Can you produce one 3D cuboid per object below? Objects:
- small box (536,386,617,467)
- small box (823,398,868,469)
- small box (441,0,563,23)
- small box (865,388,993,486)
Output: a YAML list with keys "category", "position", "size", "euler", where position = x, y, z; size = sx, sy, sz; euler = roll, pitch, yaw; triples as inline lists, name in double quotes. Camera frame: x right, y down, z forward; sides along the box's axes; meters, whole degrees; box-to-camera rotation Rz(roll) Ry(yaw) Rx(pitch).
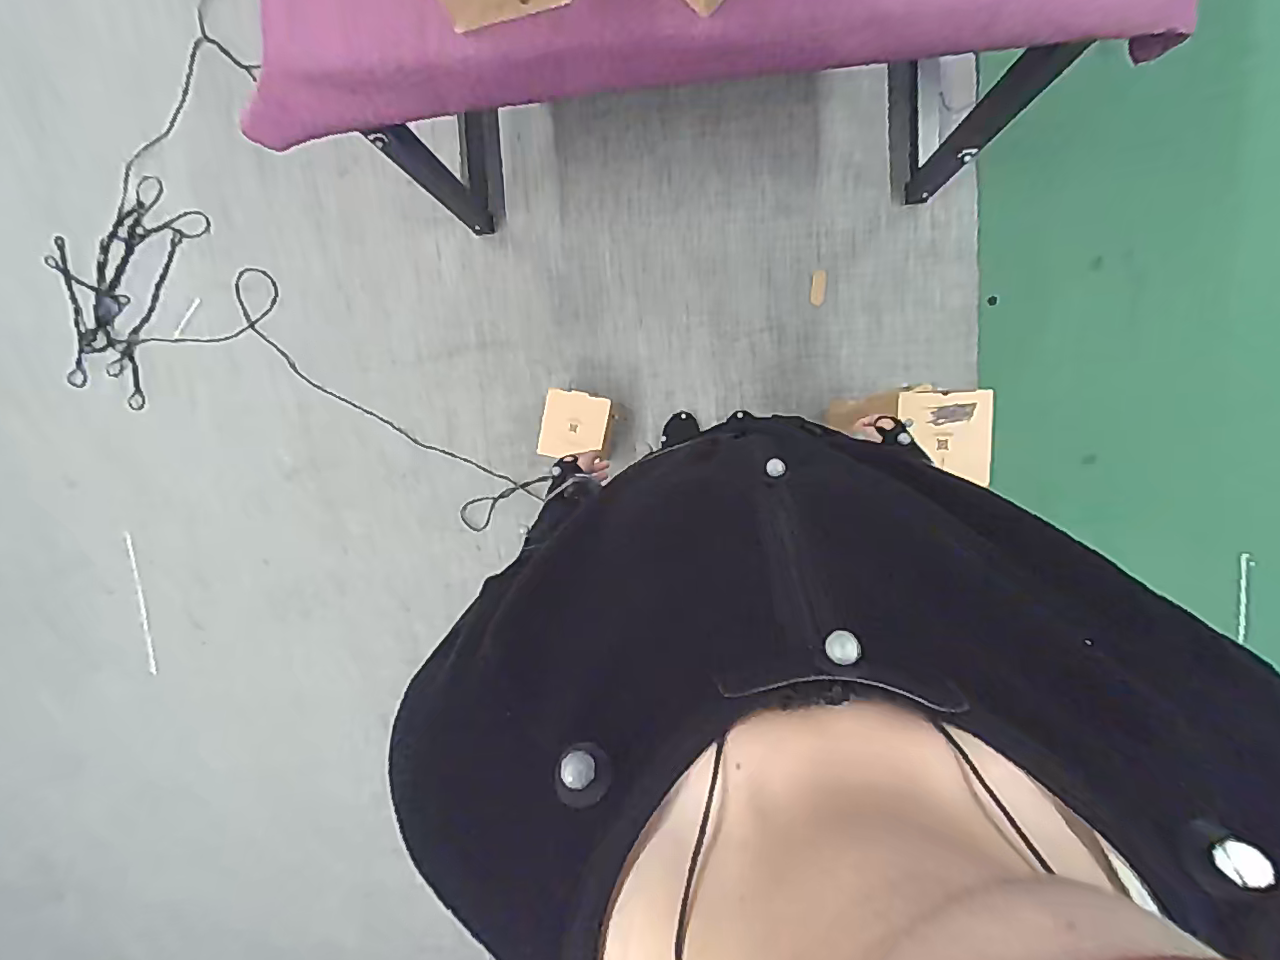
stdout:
- category: "small box"
  position: [-0.162, -0.143, 1.436]
  size: [0.168, 0.176, 0.179]
  euler: [13, 98, 4]
- category: "small box"
  position: [0.577, -0.111, 1.372]
  size: [0.179, 0.176, 0.168]
  euler: [8, 97, 5]
- category: "small box"
  position: [-0.193, -0.698, 0.646]
  size: [0.168, 0.176, 0.179]
  euler: [-10, 93, 6]
- category: "small box"
  position: [0.547, -0.084, 1.045]
  size: [0.168, 0.176, 0.179]
  euler: [-1, 97, 5]
